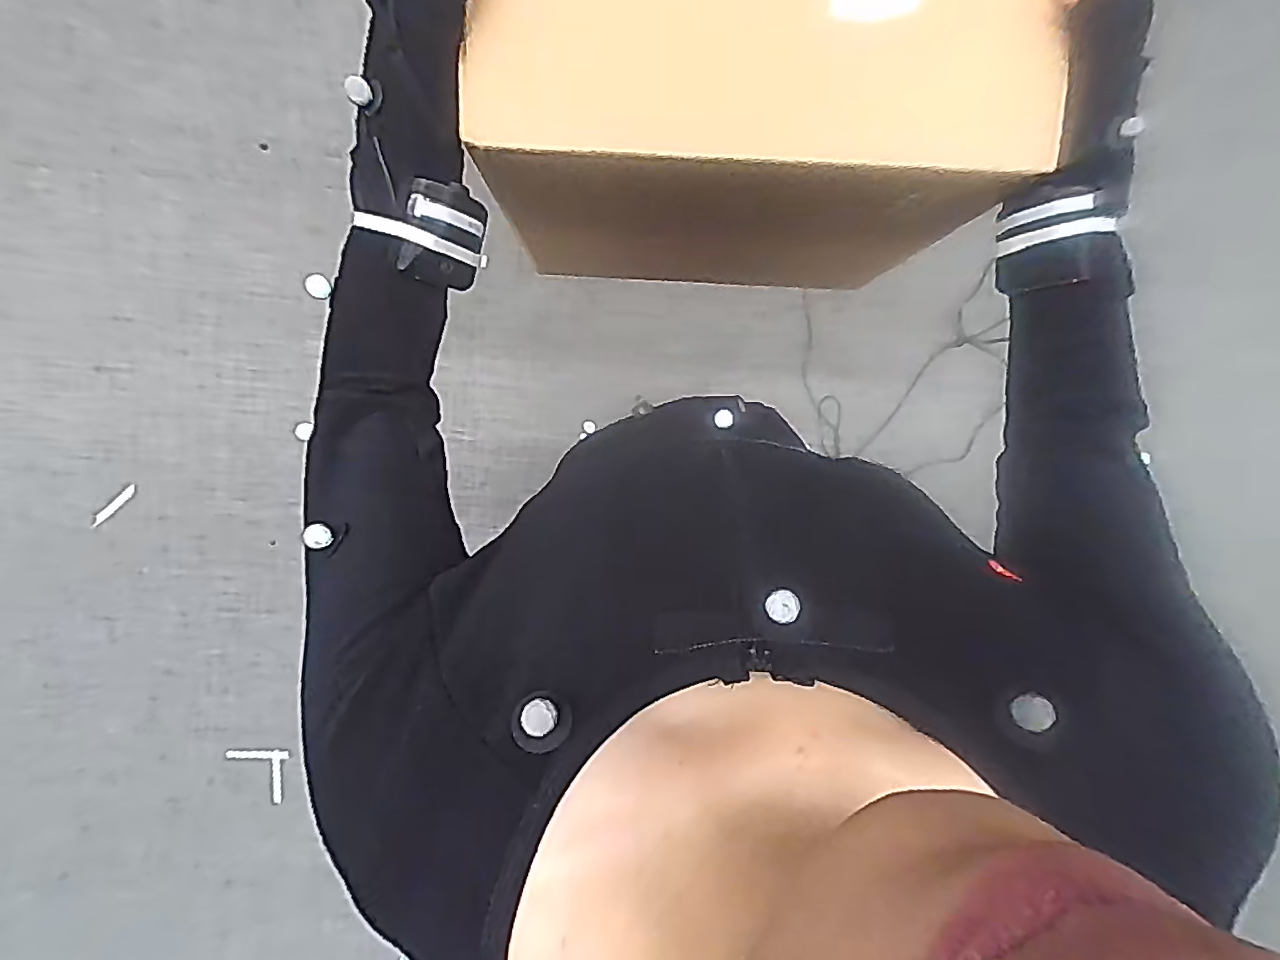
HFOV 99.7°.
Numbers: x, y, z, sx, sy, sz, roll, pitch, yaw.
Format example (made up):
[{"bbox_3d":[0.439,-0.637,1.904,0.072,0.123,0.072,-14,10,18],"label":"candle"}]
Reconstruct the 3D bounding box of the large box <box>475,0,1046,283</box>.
[{"bbox_3d":[0.079,-0.390,0.517,0.408,0.320,0.320,1,95,-2],"label":"large box"}]
